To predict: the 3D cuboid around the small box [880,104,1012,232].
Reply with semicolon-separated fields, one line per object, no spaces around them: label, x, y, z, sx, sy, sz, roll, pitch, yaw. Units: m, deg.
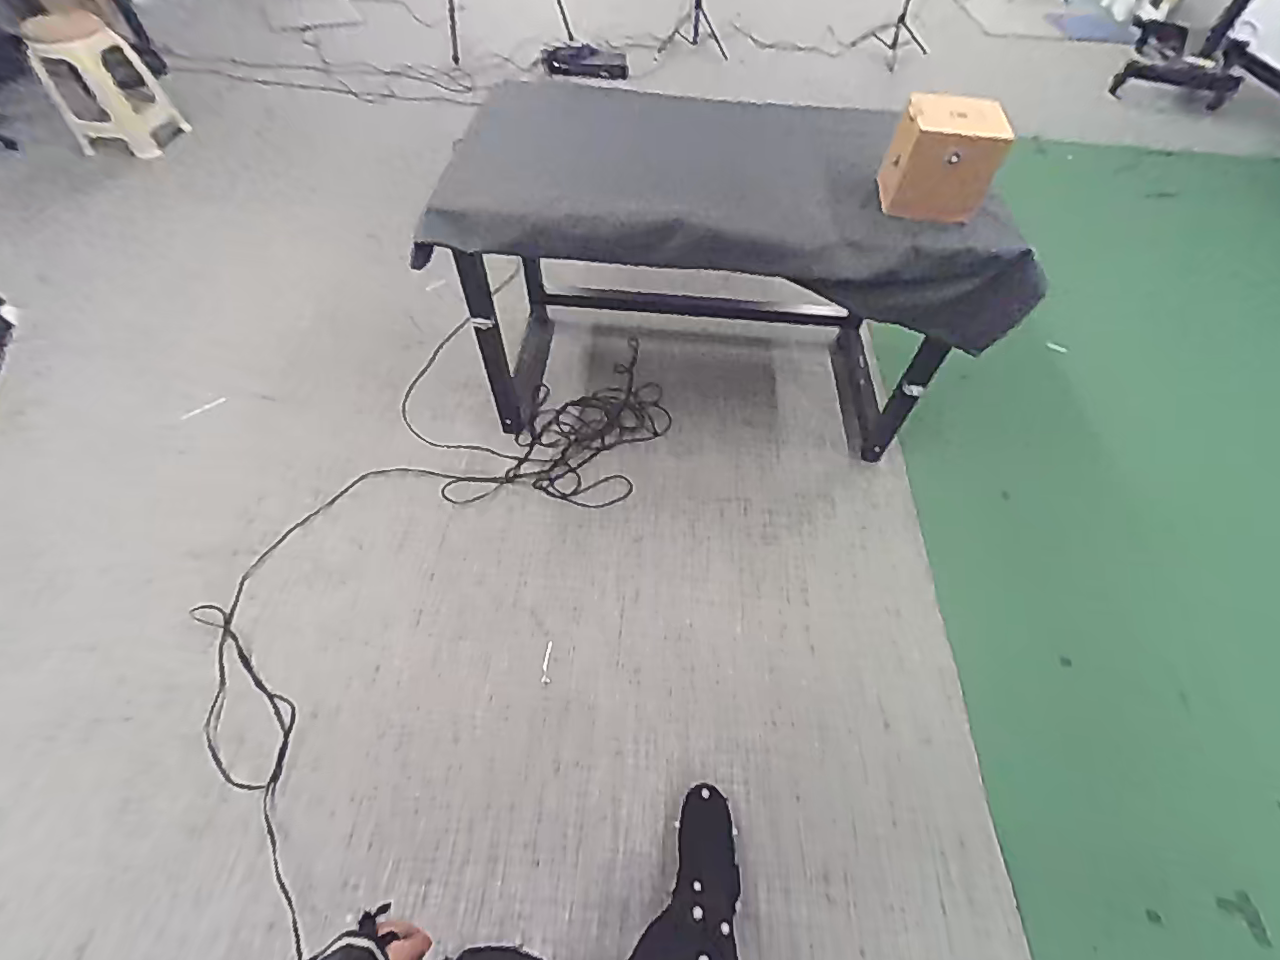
small box;0.607;-0.633;1.103;0.179;0.176;0.168;9;56;4
